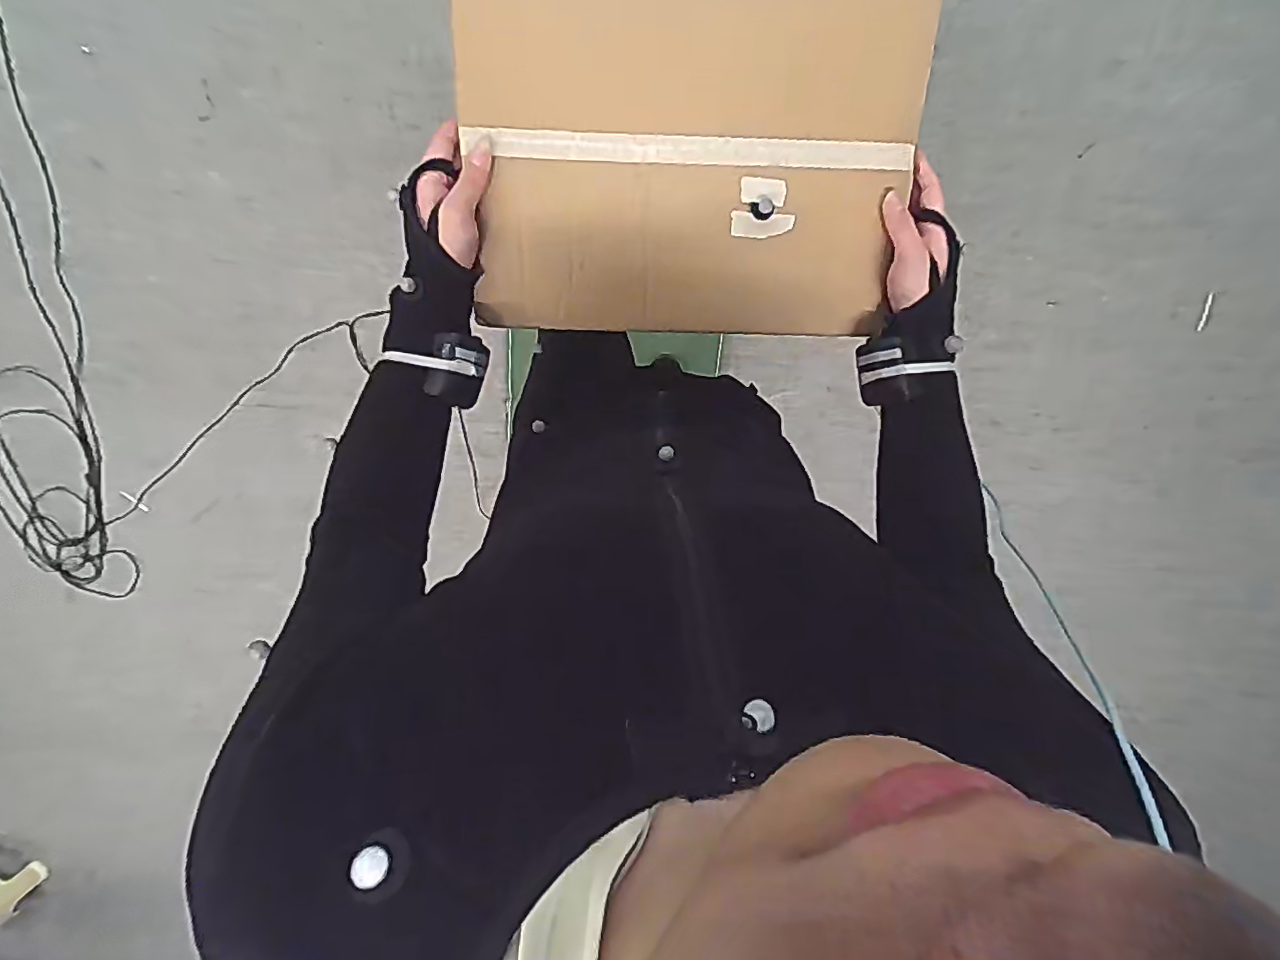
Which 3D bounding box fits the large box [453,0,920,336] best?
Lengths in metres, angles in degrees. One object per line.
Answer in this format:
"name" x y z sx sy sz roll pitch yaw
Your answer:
"large box" 0.032 -0.344 0.636 0.408 0.320 0.320 0 111 -4
